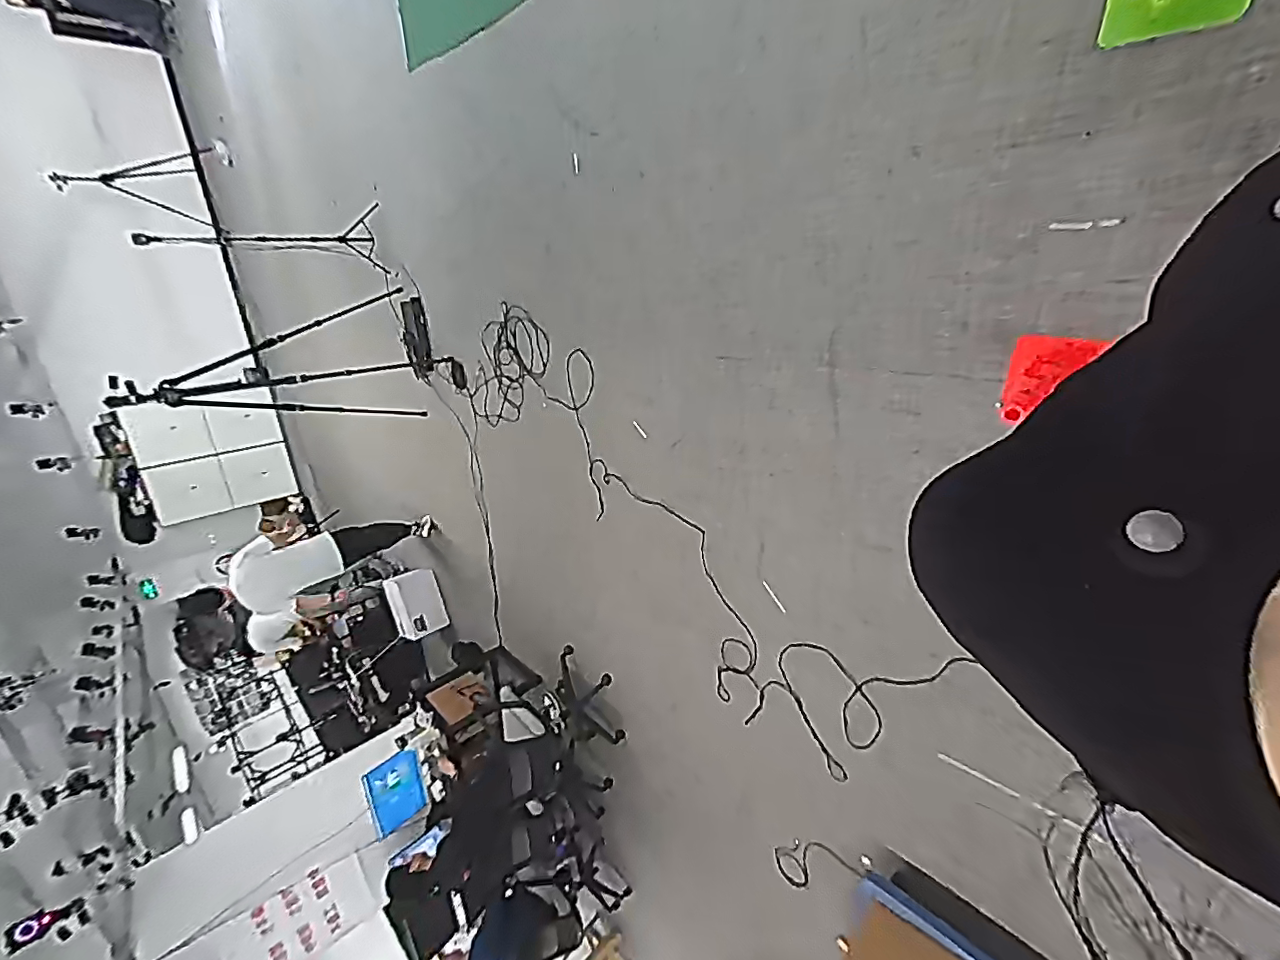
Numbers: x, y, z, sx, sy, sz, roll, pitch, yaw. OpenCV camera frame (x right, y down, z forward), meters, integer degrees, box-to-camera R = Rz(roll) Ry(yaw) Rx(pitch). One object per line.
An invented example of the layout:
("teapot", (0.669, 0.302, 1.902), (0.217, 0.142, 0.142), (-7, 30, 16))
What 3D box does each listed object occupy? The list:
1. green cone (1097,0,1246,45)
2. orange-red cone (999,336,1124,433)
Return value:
("green cone", (0.810, -0.844, 0.825), (0.200, 0.368, 0.202), (21, 122, 43))
("orange-red cone", (0.822, -0.172, 1.113), (0.198, 0.360, 0.199), (23, 121, 41))
